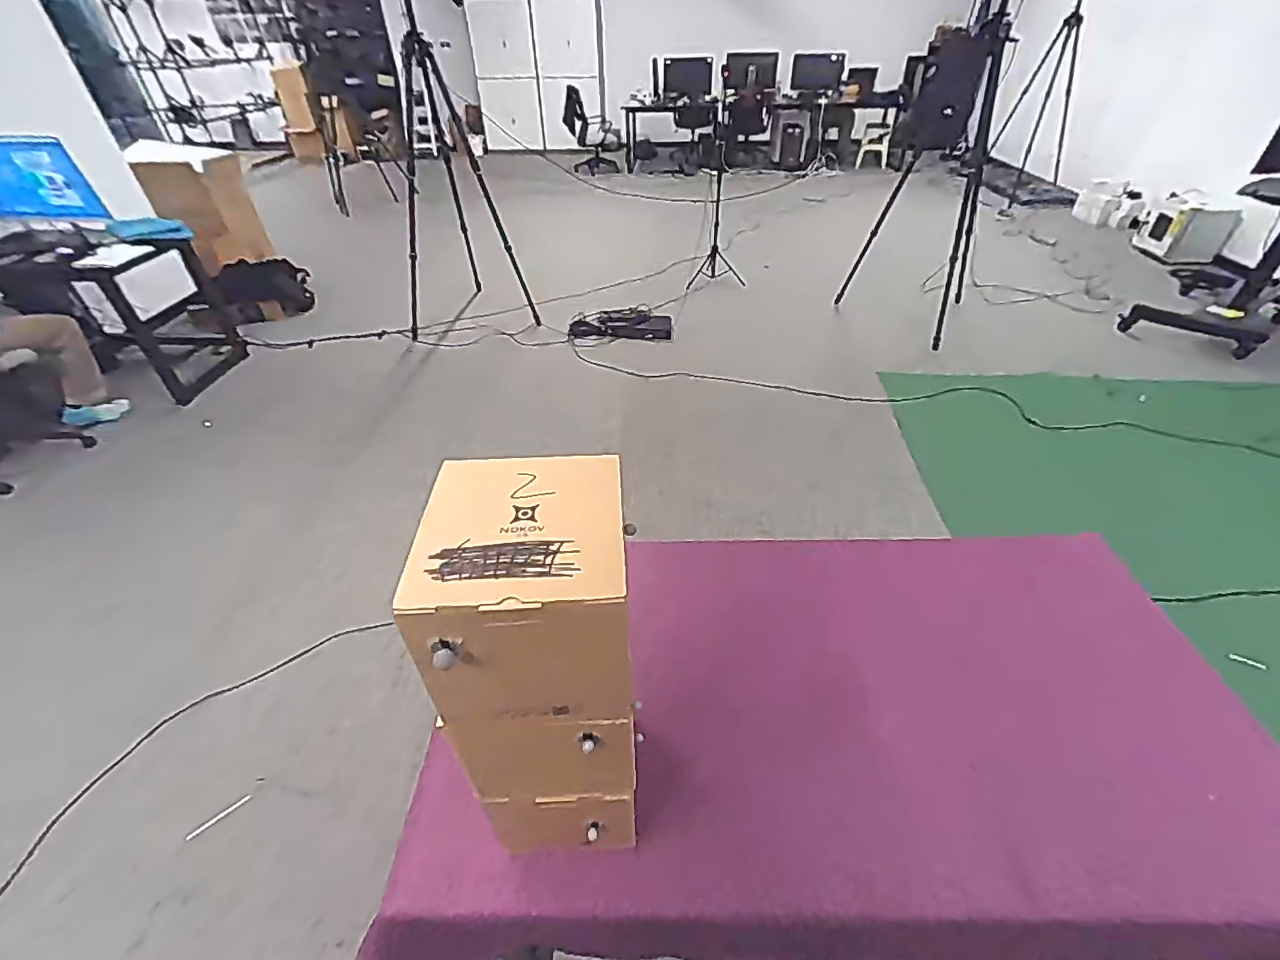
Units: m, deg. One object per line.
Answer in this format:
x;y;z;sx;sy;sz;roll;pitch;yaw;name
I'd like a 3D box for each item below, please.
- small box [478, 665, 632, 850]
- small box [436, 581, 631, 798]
-0.095;0.356;0.699;0.168;0.176;0.179;0;39;-1;small box
-0.100;0.231;0.596;0.179;0.176;0.168;-1;40;-3;small box
